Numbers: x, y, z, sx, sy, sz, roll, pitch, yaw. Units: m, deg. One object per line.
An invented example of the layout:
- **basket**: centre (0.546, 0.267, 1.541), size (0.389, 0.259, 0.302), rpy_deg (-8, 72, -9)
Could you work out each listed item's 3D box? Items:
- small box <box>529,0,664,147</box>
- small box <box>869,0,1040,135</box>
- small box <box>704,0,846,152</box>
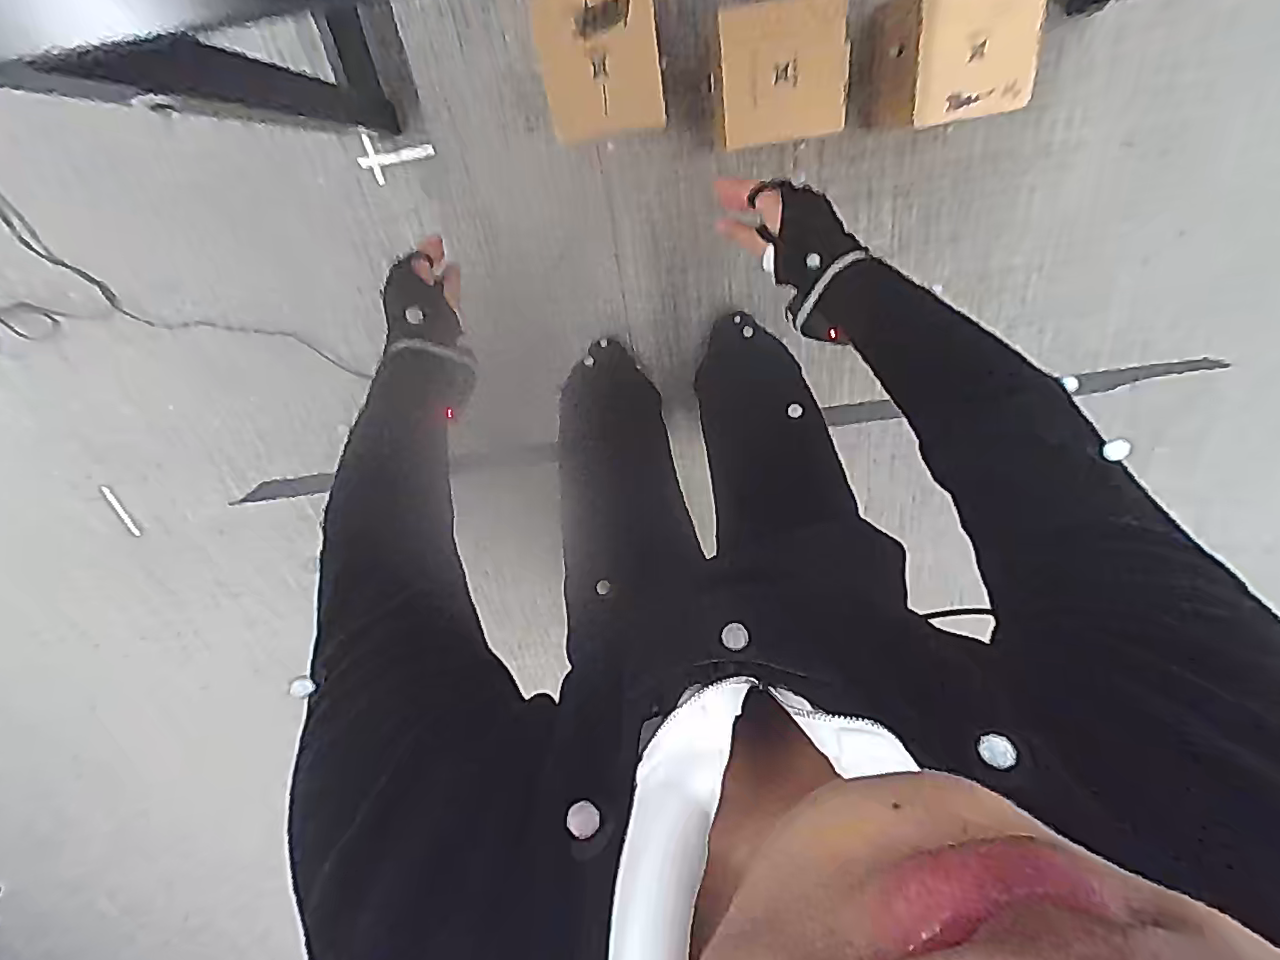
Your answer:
- **small box**: centre (-0.059, -0.623, 0.821), size (0.168, 0.176, 0.179), rpy_deg (-8, 120, 4)
- **small box**: centre (0.459, -0.642, 0.814), size (0.168, 0.176, 0.179), rpy_deg (-8, 118, 5)
- **small box**: centre (0.199, -0.614, 0.831), size (0.179, 0.176, 0.168), rpy_deg (-7, 119, 4)
